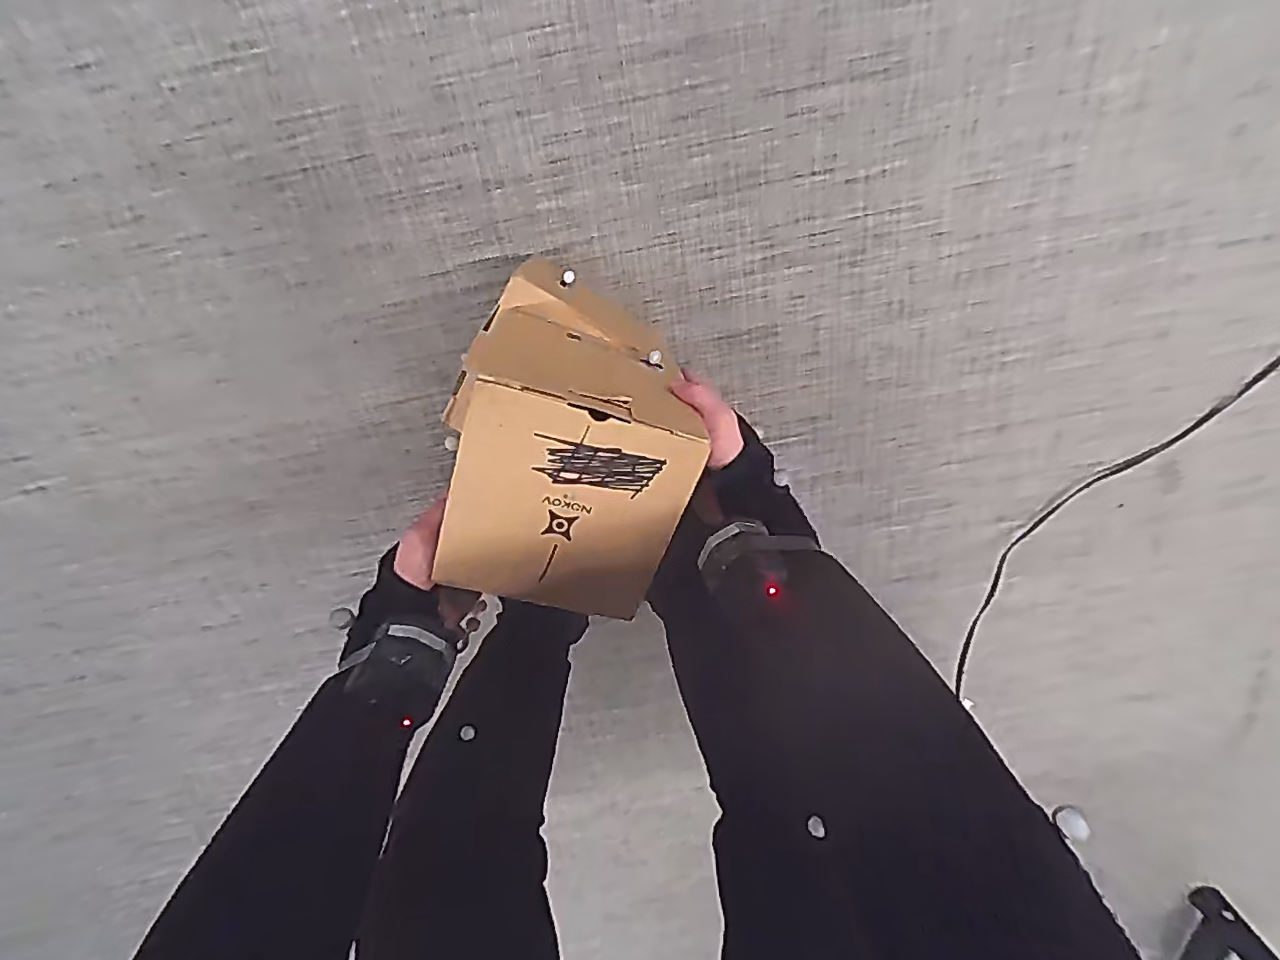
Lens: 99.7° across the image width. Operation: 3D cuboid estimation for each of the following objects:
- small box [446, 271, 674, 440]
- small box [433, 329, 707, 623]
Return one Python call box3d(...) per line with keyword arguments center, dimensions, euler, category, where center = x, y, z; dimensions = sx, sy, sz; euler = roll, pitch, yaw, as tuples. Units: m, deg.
box3d(center=(-0.085, -0.113, 0.603), dimensions=(0.179, 0.176, 0.168), euler=(26, 114, -17), category="small box")
box3d(center=(-0.063, -0.010, 0.466), dimensions=(0.168, 0.176, 0.179), euler=(15, 118, -14), category="small box")
